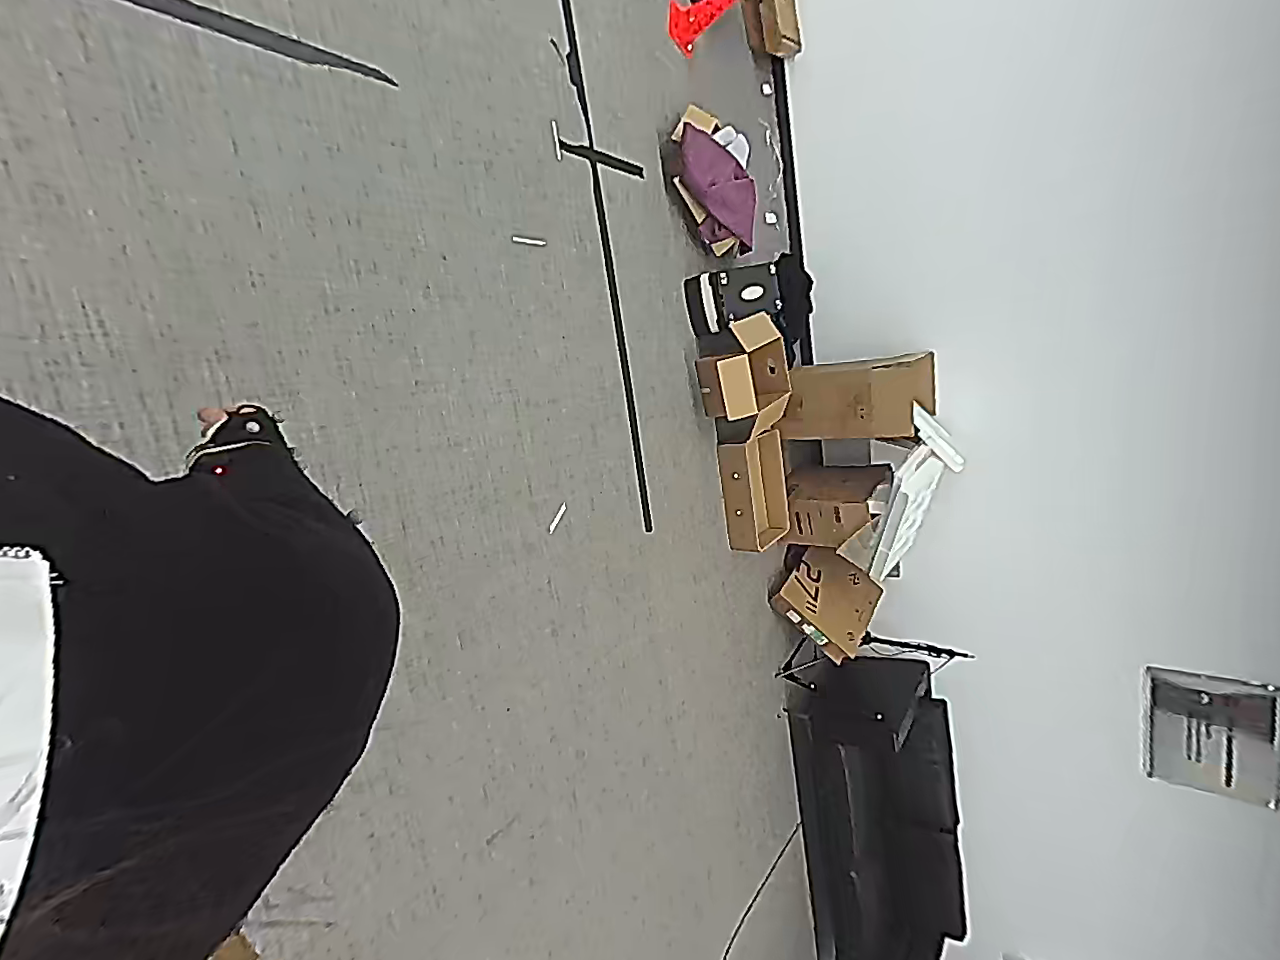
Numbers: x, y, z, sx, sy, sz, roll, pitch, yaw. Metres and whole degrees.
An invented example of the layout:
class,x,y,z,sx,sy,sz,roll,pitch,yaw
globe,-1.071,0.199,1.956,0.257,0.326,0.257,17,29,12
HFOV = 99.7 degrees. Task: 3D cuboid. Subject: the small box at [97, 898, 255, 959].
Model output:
class,x,y,z,sx,sy,sz,roll,pitch,yaw
small box,-0.544,0.638,0.616,0.168,0.176,0.179,-20,103,-52
